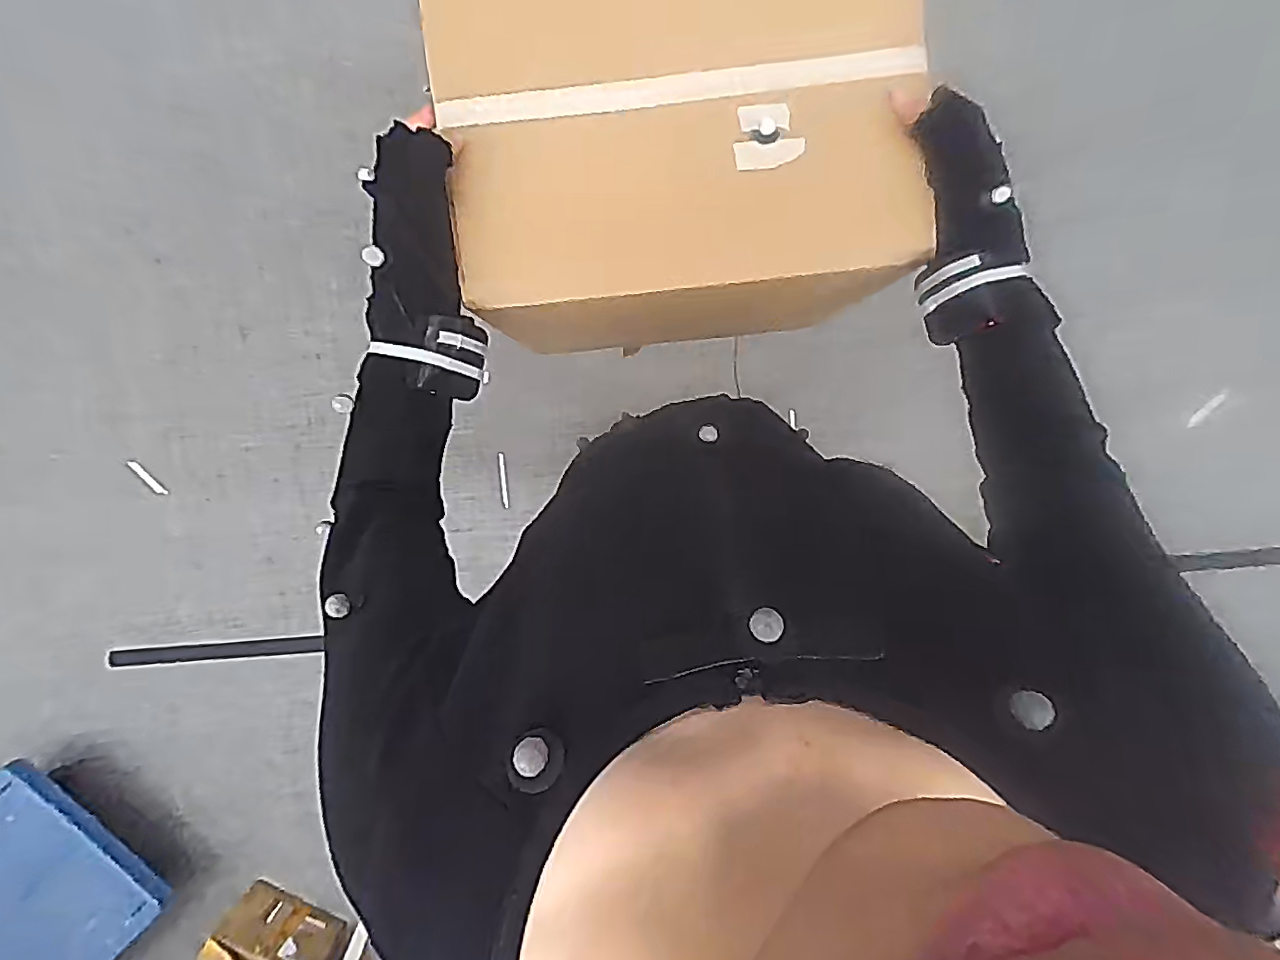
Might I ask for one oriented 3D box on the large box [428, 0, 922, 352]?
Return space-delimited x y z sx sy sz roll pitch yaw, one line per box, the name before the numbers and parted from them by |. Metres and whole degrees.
large box | 0.029 -0.340 0.604 0.408 0.320 0.320 -6 96 0
